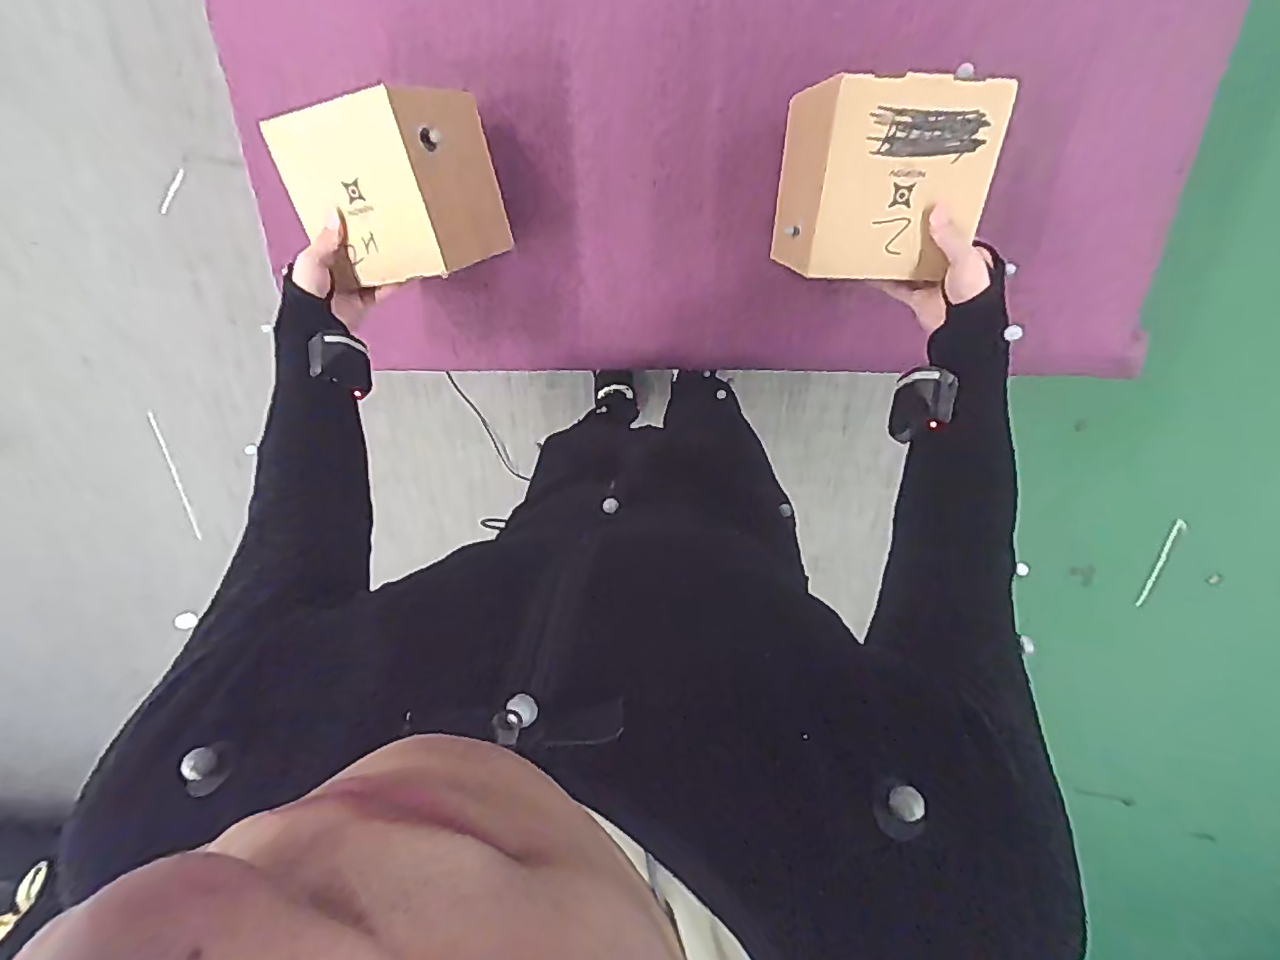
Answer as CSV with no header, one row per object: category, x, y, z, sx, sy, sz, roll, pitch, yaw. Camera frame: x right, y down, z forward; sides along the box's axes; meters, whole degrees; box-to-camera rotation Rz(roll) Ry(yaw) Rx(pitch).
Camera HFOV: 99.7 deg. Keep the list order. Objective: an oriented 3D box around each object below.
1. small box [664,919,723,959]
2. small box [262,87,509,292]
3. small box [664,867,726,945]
small box,0.165,1.532,1.693,0.168,0.176,0.179,10,114,2
small box,-0.284,-0.340,0.646,0.168,0.176,0.179,-1,121,19
small box,0.185,1.464,1.841,0.179,0.176,0.168,12,114,2
